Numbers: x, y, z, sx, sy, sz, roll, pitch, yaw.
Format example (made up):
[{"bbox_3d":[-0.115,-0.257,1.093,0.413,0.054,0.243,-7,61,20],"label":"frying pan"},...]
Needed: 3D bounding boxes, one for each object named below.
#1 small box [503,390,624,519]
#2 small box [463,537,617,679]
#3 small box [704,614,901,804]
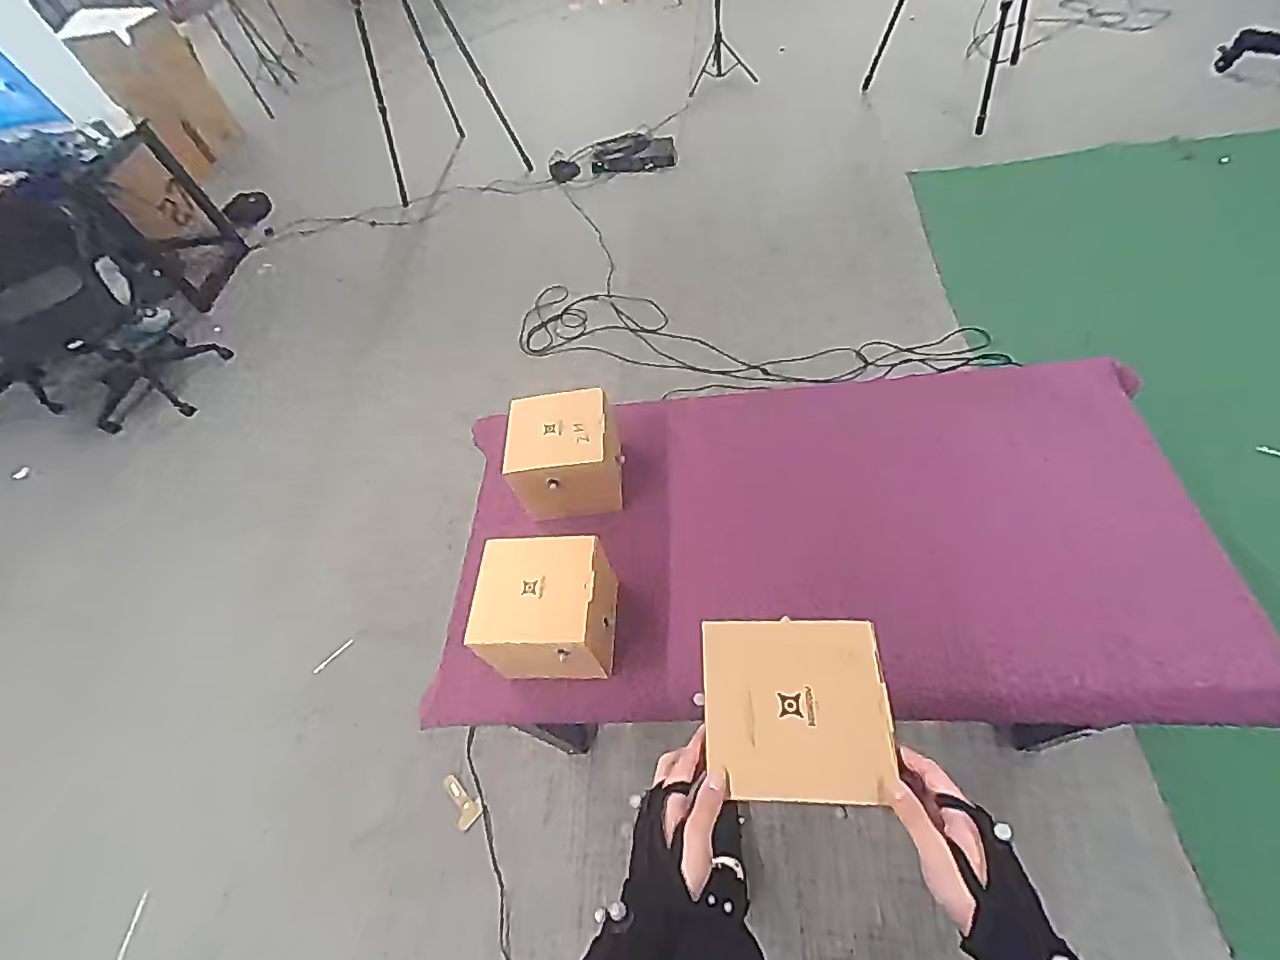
[{"bbox_3d":[-0.132,-0.040,0.994,0.179,0.176,0.168,-6,56,6],"label":"small box"},{"bbox_3d":[-0.140,0.201,0.833,0.179,0.176,0.168,-2,54,8],"label":"small box"},{"bbox_3d":[0.160,0.251,0.593,0.179,0.176,0.168,-2,61,9],"label":"small box"}]
